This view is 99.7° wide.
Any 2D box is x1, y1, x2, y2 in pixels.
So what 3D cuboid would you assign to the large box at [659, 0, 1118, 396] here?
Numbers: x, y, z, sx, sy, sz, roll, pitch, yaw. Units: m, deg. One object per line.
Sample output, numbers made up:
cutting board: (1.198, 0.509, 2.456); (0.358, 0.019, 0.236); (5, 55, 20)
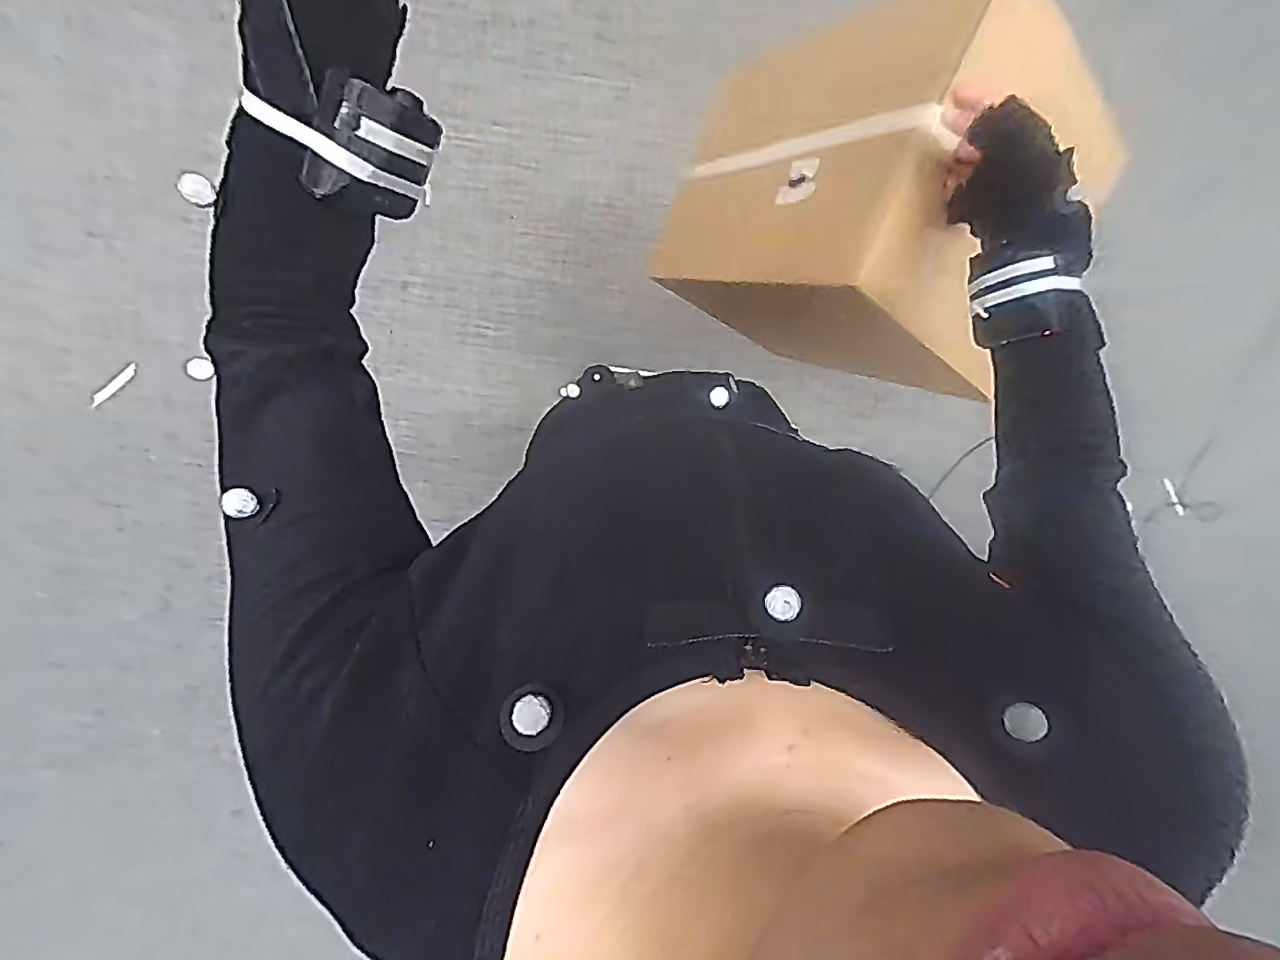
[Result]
large box: (0.299, -0.343, 0.737); (0.320, 0.408, 0.320); (19, 100, -33)
